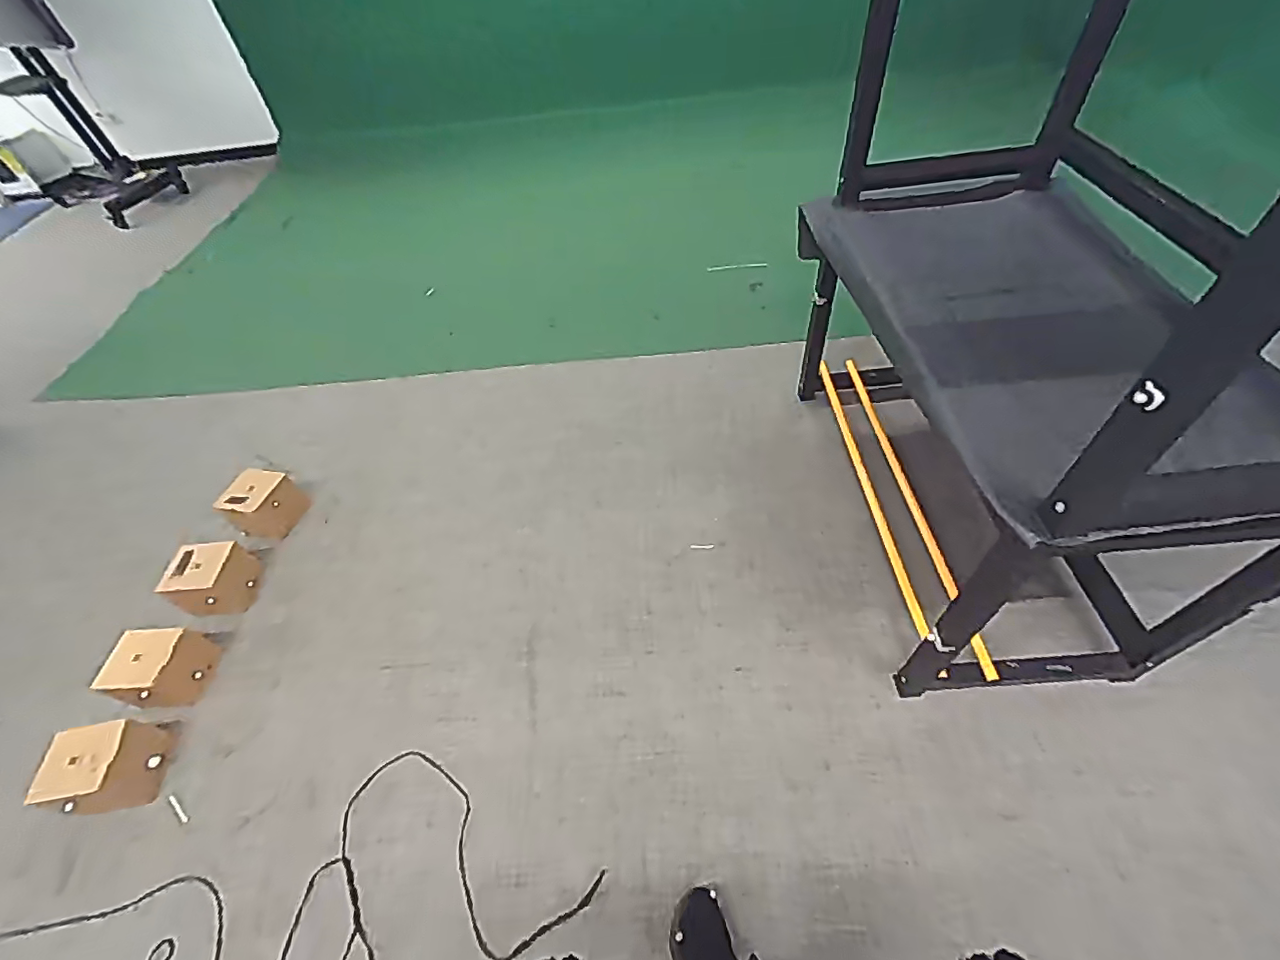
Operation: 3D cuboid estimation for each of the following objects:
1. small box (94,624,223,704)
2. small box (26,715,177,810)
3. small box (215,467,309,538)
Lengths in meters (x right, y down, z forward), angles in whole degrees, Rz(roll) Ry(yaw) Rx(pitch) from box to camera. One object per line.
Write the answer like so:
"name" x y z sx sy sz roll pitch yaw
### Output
"small box" -1.347 0.523 1.527 0.179 0.176 0.168 -4 50 3
"small box" -1.344 0.716 1.365 0.179 0.176 0.168 -10 51 -2
"small box" -1.307 0.081 1.885 0.168 0.176 0.179 7 51 12
